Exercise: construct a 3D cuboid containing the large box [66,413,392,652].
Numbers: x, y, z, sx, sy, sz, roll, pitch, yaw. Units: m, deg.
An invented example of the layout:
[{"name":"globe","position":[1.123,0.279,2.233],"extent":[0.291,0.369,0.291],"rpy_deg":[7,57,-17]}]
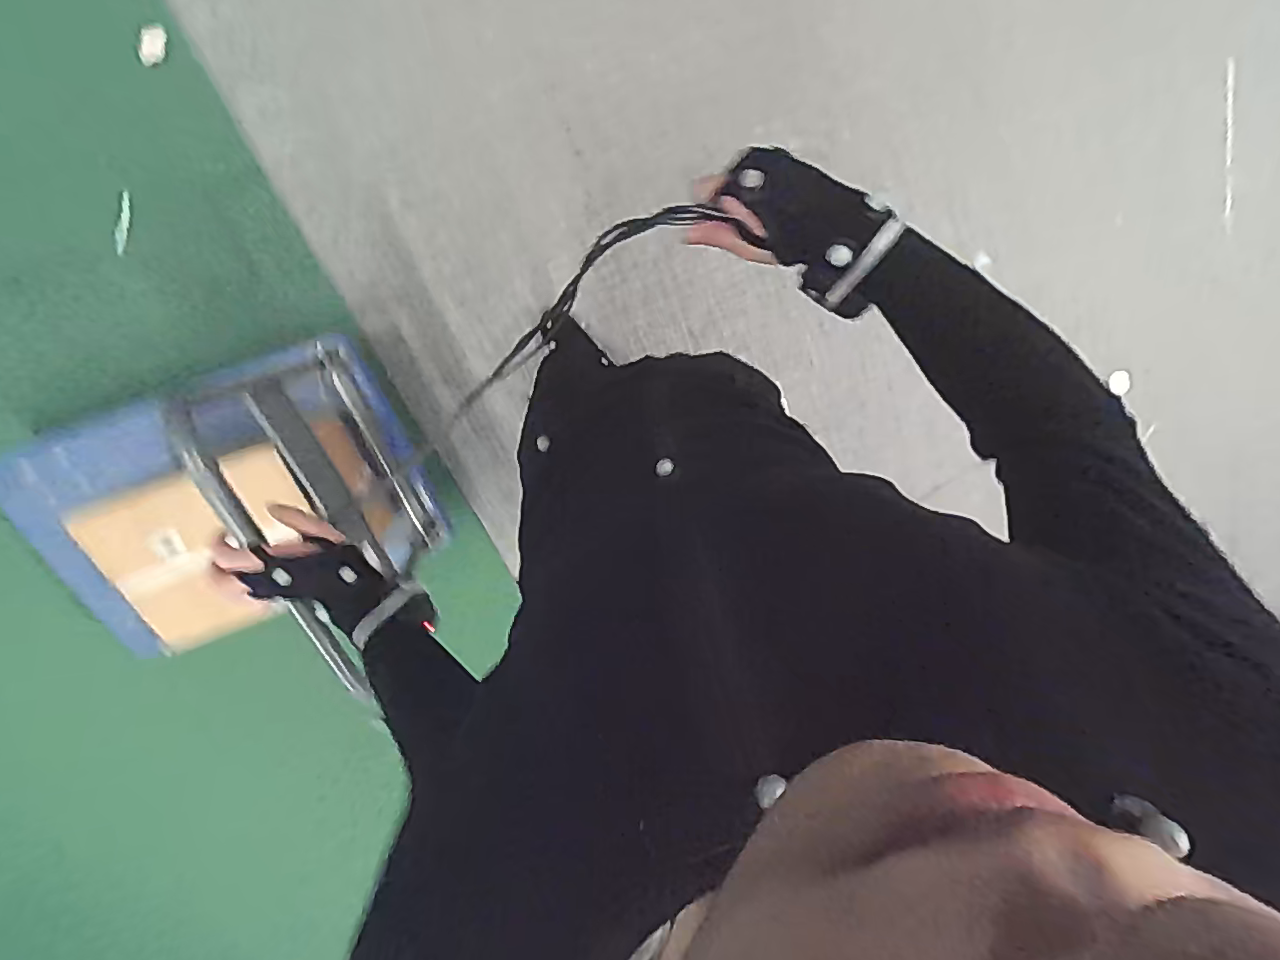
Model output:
[{"name":"large box","position":[-0.835,0.094,1.179],"extent":[0.408,0.320,0.320],"rpy_deg":[-21,112,-2]}]
